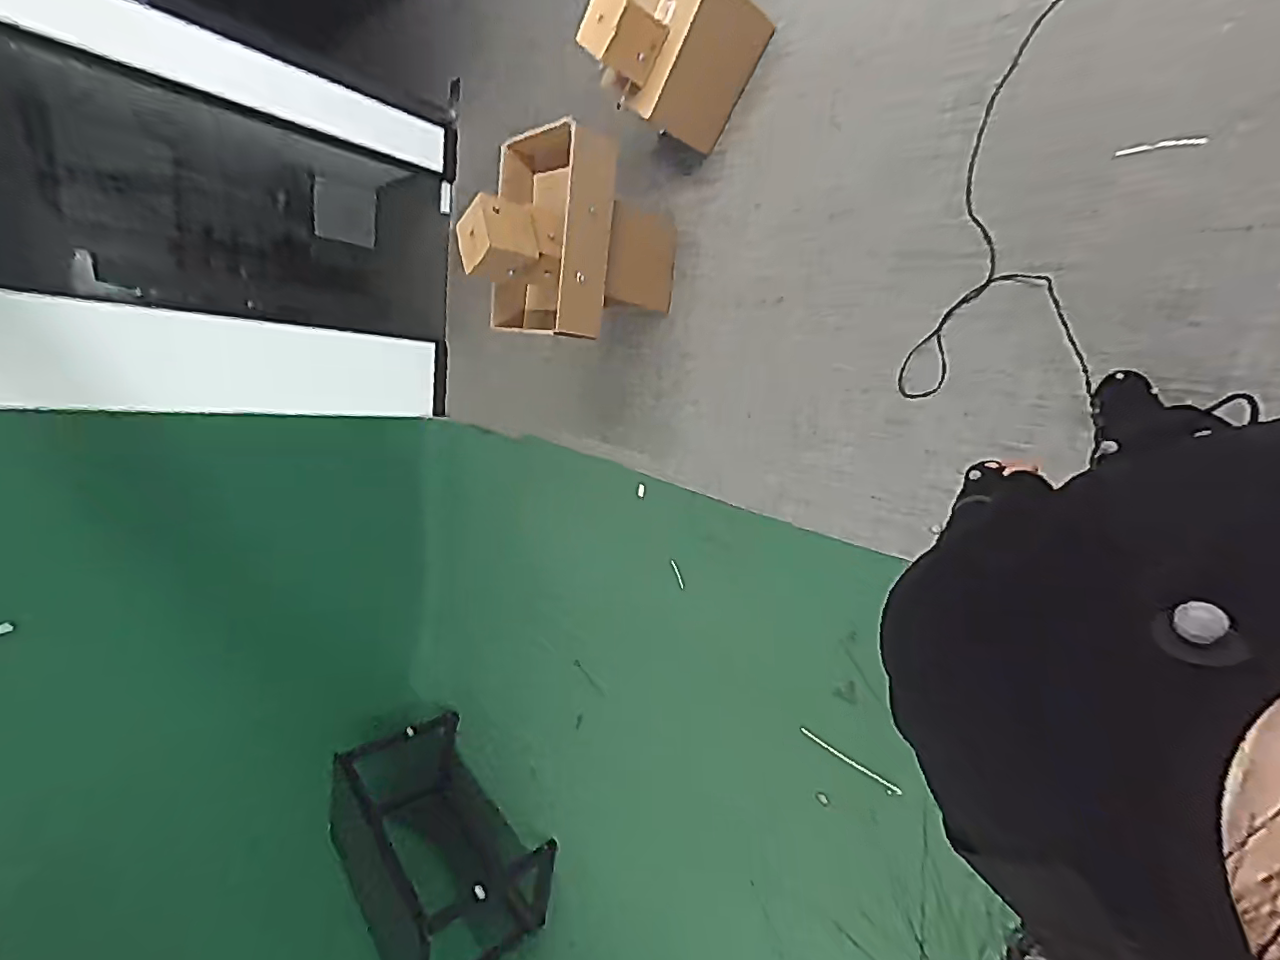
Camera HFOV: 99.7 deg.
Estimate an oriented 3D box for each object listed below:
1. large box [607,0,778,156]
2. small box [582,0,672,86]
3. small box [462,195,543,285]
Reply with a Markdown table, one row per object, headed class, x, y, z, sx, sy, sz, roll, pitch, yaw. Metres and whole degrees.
| class | x | y | z | sx | sy | sz | roll | pitch | yaw |
| --- | --- | --- | --- | --- | --- | --- | --- | --- | --- |
| large box | 0.161 | -1.362 | 1.755 | 0.320 | 0.320 | 0.408 | 53 | 126 | 29 |
| small box | -0.038 | -1.325 | 1.613 | 0.168 | 0.176 | 0.179 | -53 | 56 | 34 |
| small box | -0.421 | -0.729 | 1.663 | 0.168 | 0.176 | 0.179 | -22 | 78 | 45 |
